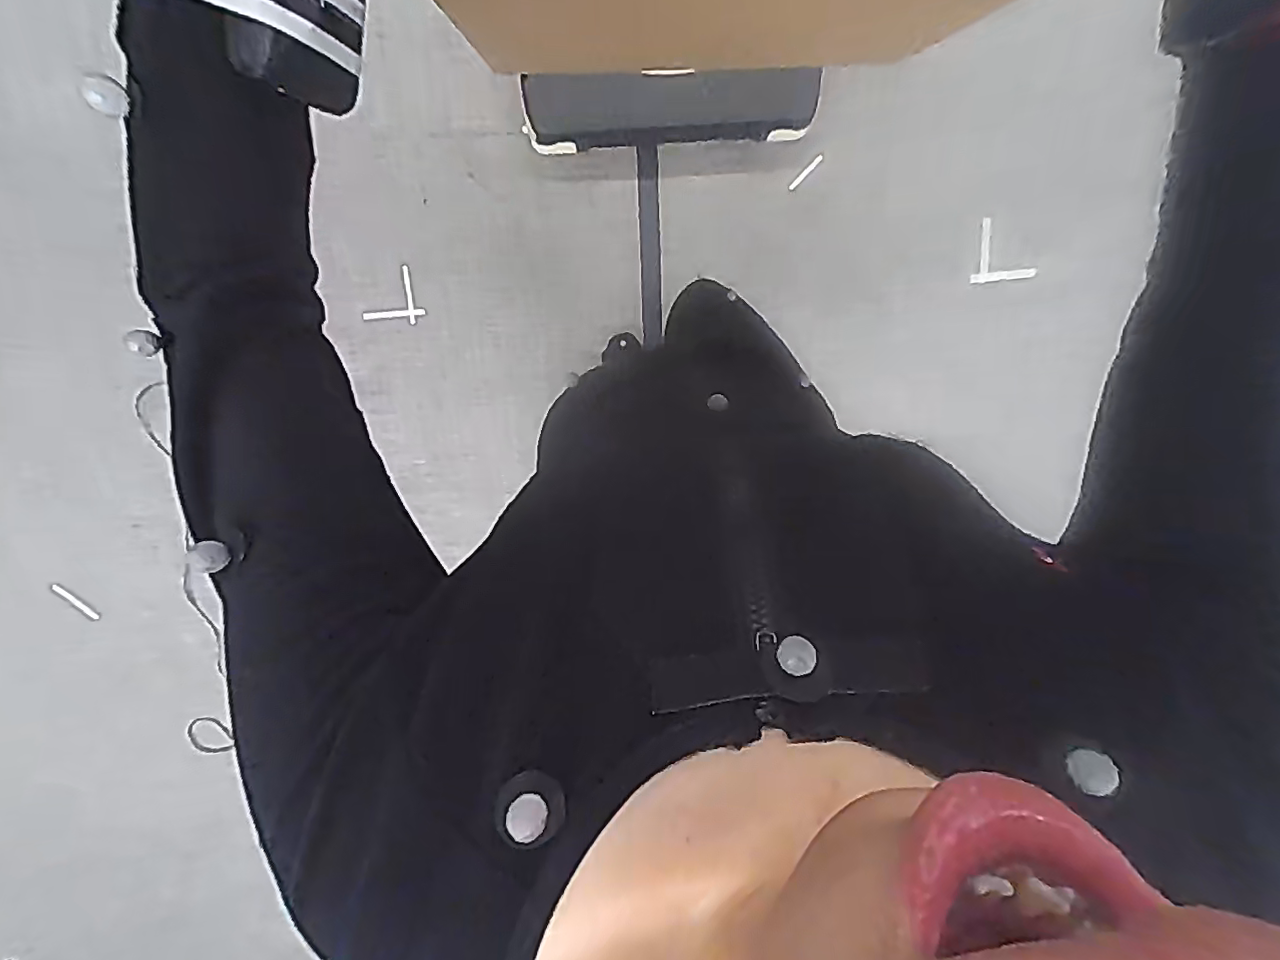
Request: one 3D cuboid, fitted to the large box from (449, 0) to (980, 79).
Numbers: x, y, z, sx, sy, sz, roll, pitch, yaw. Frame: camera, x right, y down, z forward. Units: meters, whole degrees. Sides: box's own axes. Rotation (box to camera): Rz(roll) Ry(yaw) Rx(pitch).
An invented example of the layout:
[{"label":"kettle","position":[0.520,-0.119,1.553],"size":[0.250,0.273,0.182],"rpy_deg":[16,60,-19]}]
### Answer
[{"label":"large box","position":[0.057,-0.482,0.335],"size":[0.408,0.320,0.320],"rpy_deg":[-3,116,-1]}]
